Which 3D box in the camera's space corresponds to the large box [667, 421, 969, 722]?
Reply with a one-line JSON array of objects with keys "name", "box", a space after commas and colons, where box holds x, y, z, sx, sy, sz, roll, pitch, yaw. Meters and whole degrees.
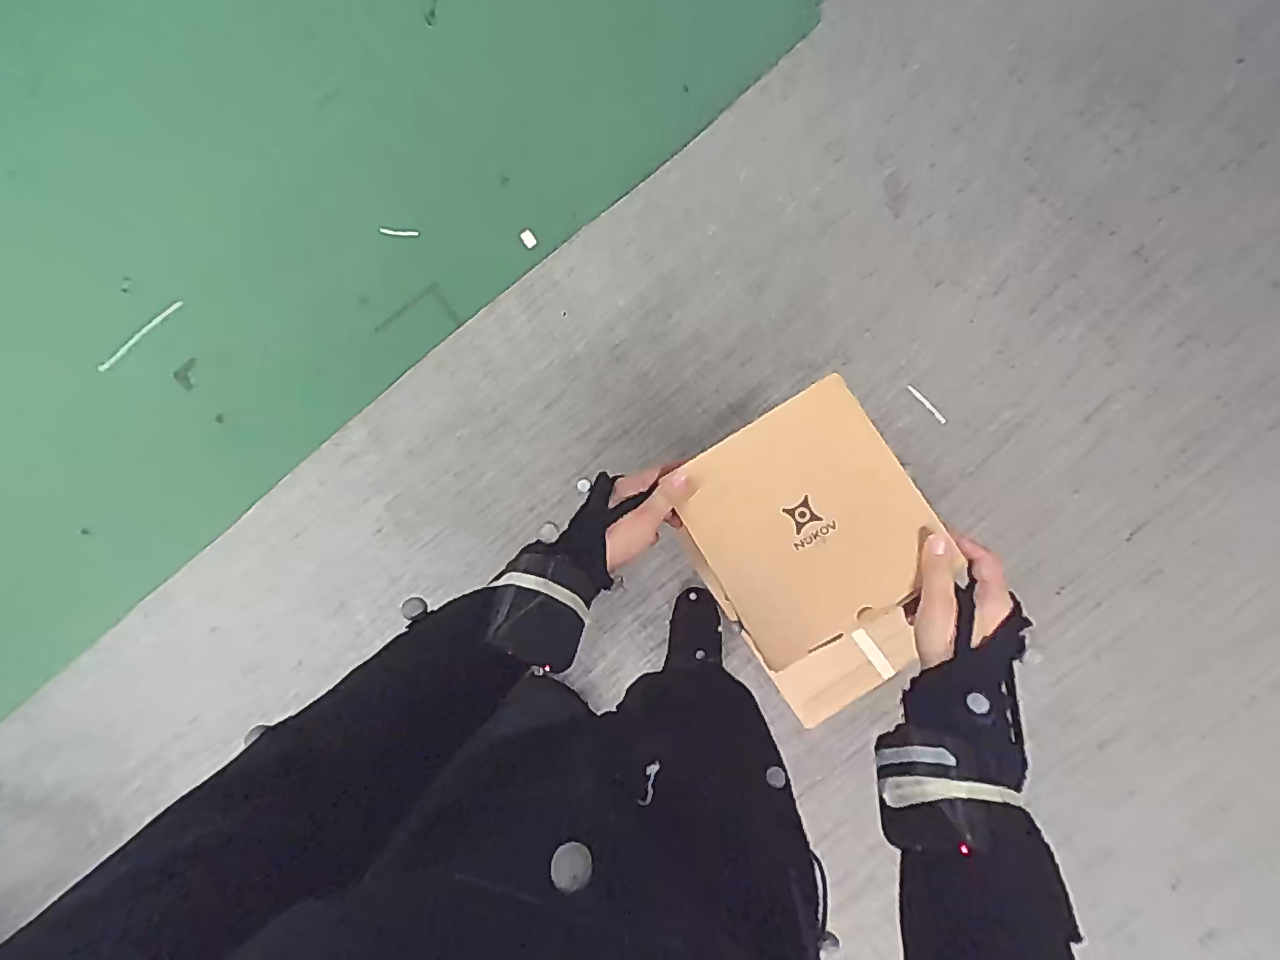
[{"name": "large box", "box": [0.301, 0.158, 1.030, 0.320, 0.320, 0.408, -36, 80, 5]}]
